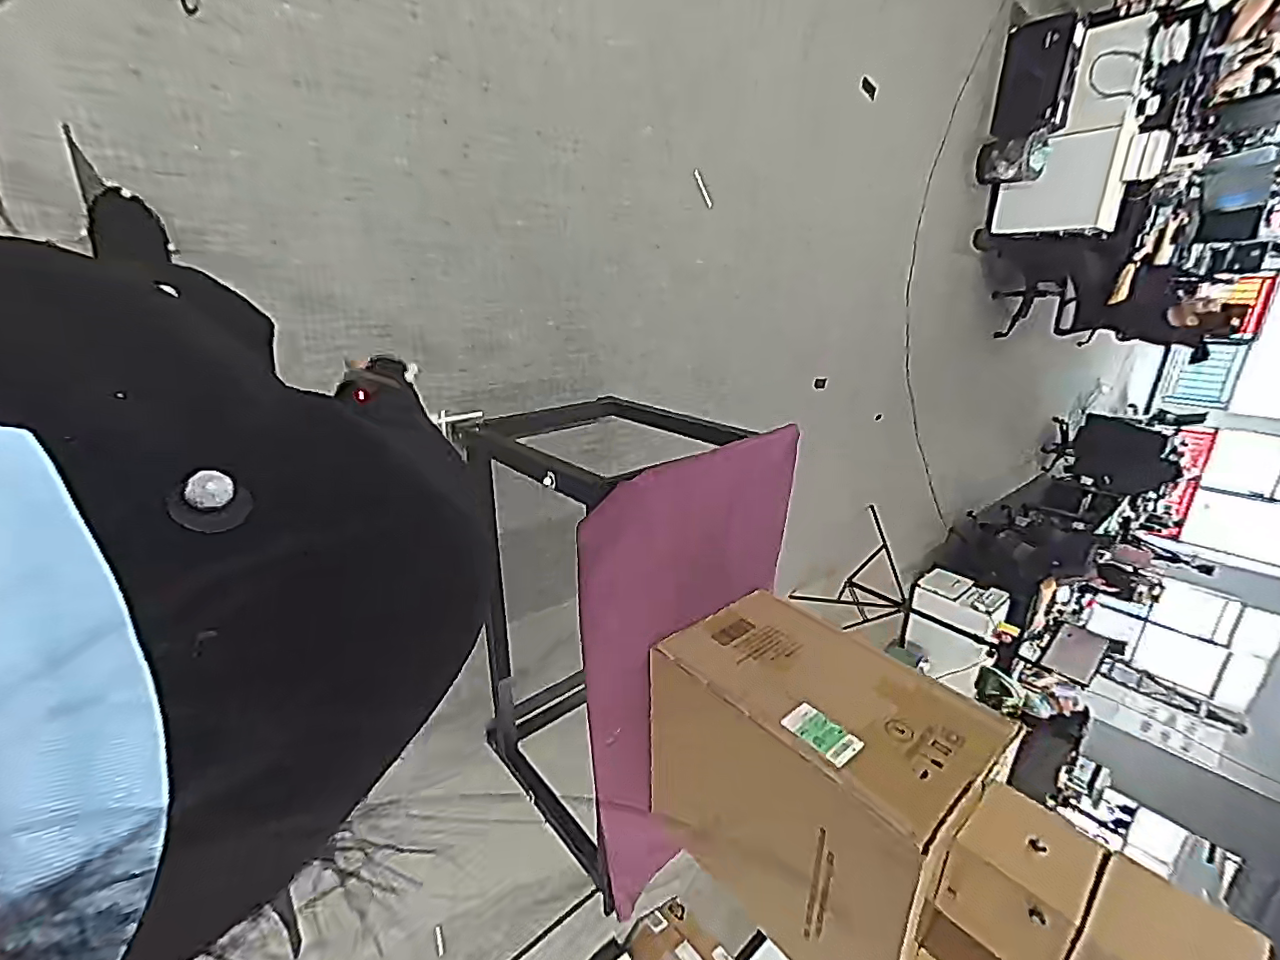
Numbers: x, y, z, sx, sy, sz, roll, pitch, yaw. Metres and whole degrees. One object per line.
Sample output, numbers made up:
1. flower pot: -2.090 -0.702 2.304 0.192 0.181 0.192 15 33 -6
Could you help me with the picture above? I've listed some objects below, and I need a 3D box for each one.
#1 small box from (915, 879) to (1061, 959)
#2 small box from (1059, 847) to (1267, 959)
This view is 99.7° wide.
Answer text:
1. small box: 0.607 0.874 0.963 0.179 0.176 0.168 -19 116 -36
2. small box: 0.715 0.677 0.756 0.179 0.176 0.168 -21 120 -36
